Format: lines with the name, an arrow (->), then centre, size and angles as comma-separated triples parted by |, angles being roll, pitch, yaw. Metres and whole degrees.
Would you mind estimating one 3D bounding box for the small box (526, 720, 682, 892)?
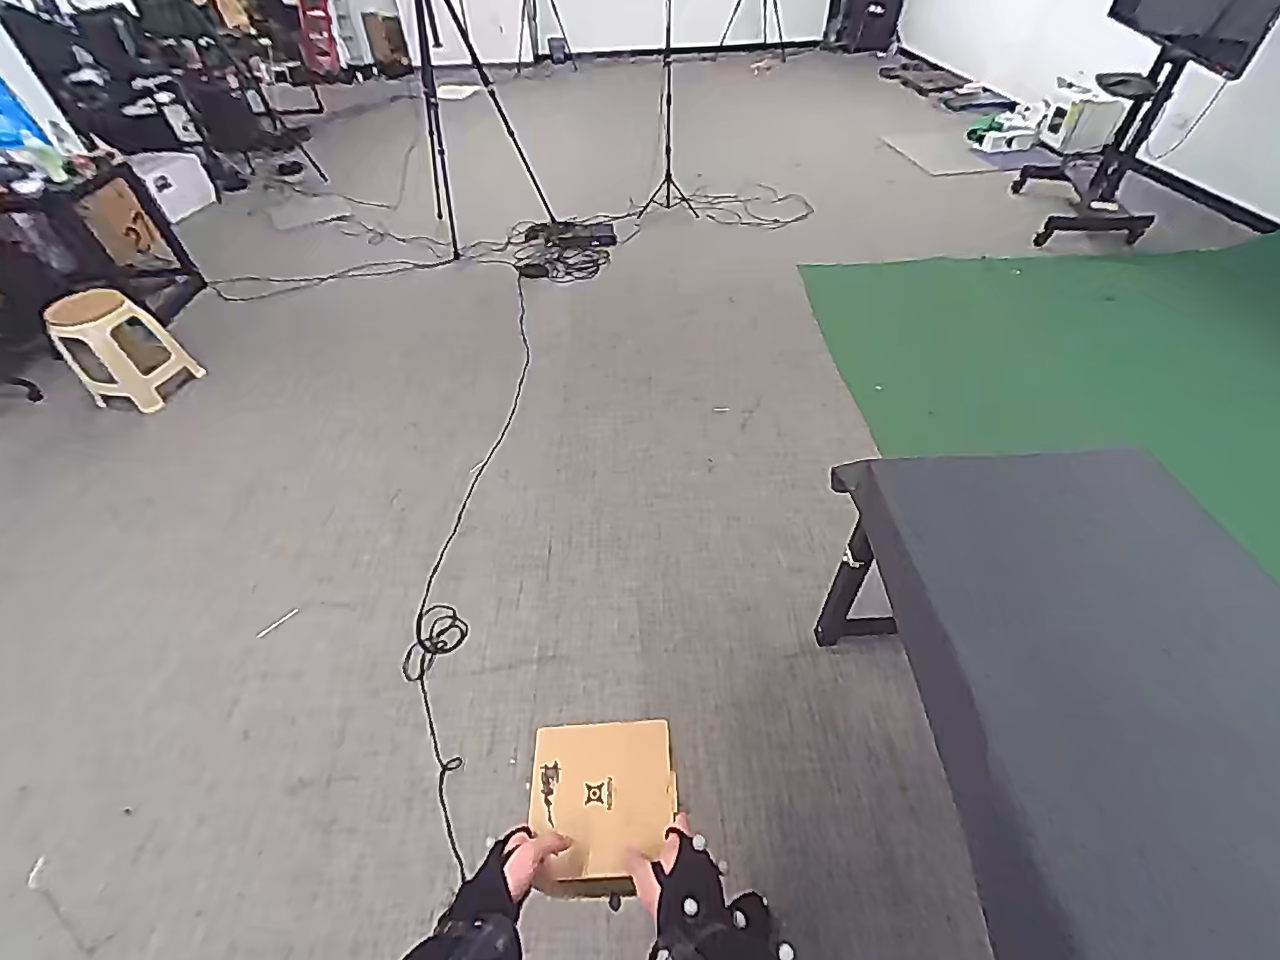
small box -> -0.037, 0.429, 0.711 | 0.179, 0.176, 0.168 | -4, 47, 3
